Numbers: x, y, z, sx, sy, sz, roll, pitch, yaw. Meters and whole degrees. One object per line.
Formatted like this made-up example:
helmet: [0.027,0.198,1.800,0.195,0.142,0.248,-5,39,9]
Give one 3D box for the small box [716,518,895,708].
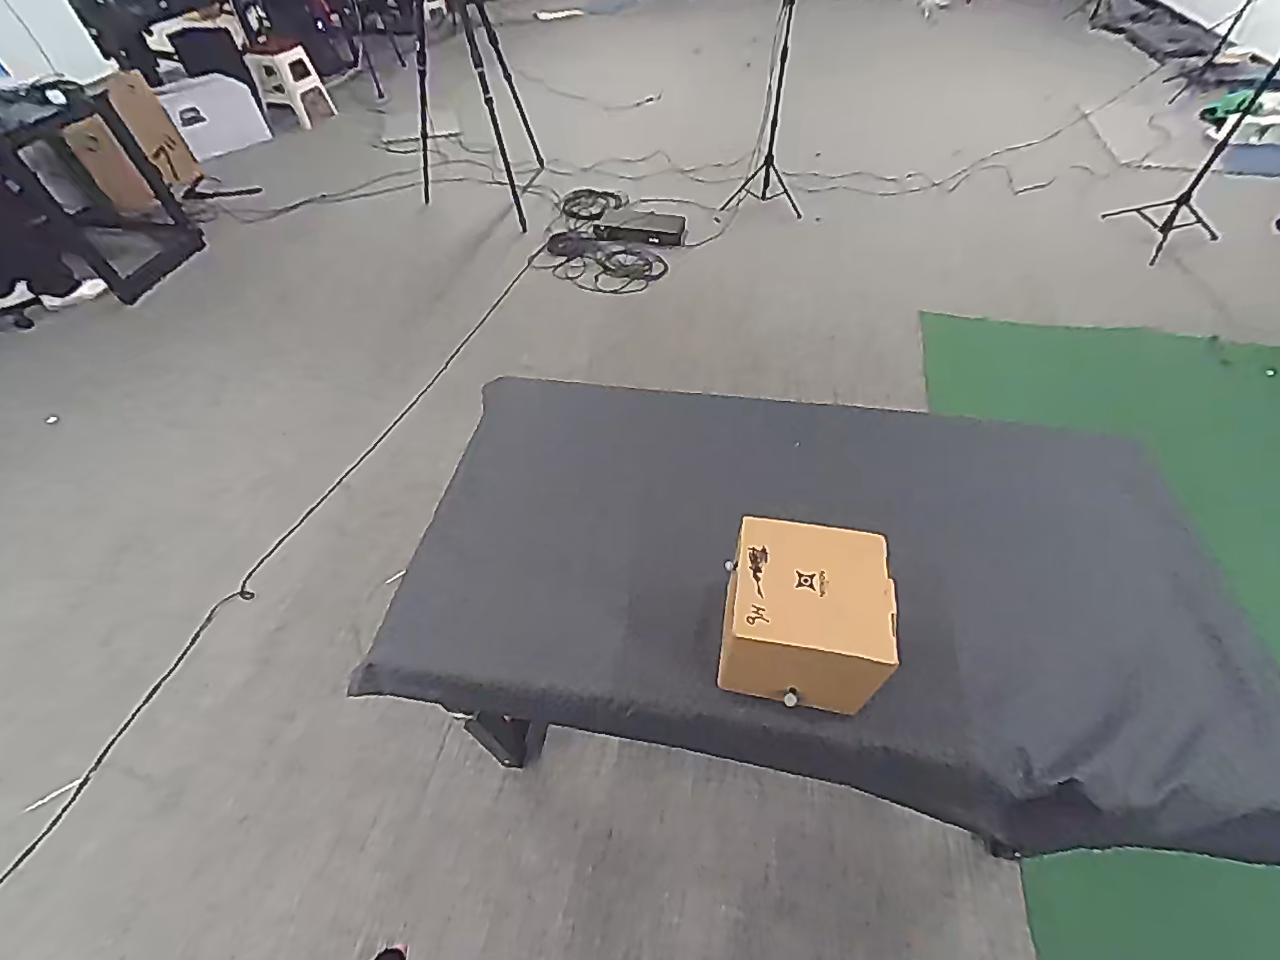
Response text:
small box: [0.201,0.174,0.691,0.179,0.176,0.168,9,50,8]
